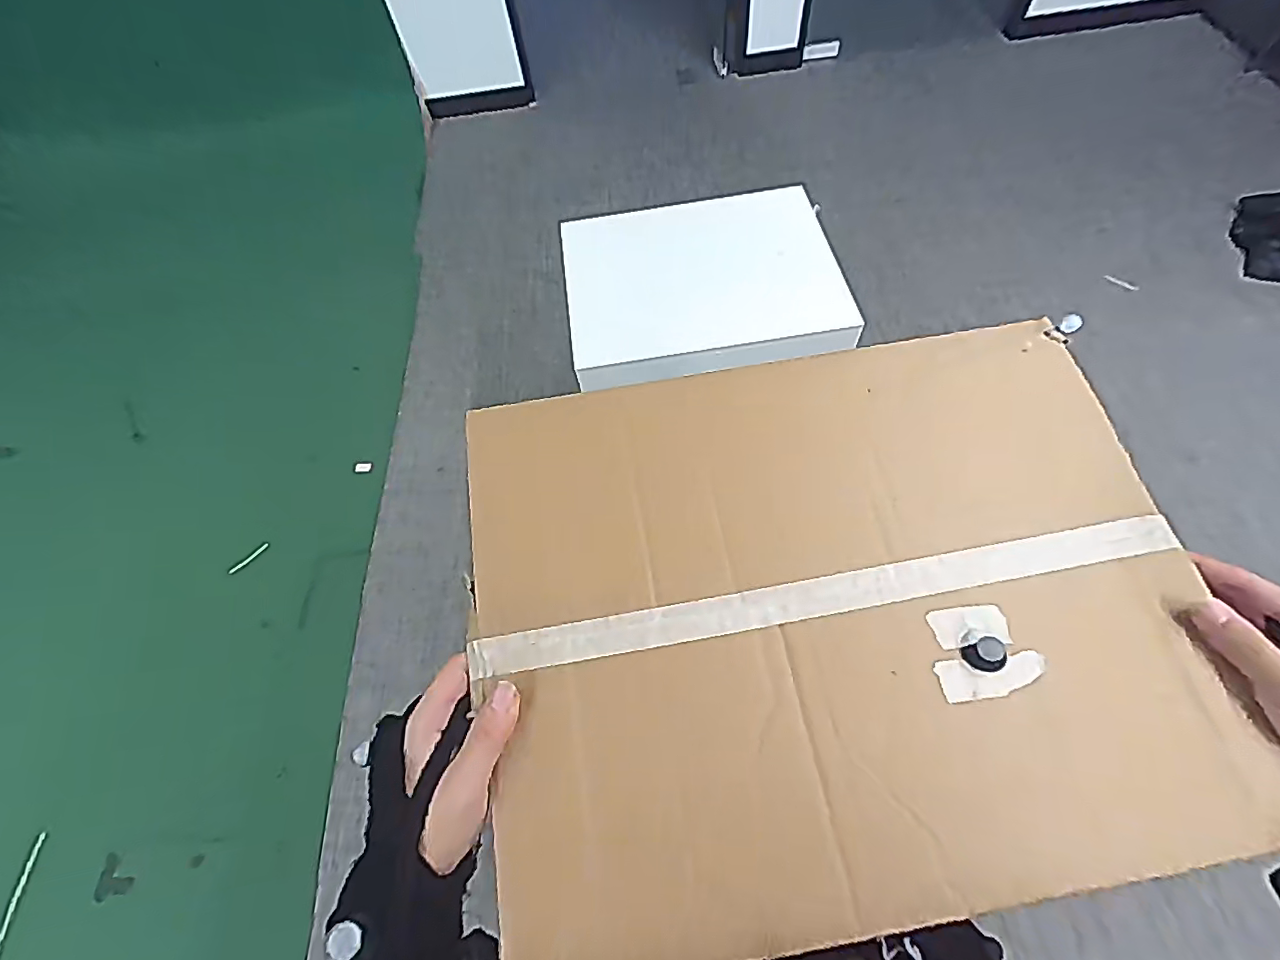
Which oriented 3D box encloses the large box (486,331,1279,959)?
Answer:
[{"bbox_3d":[0.116,0.120,0.462,0.408,0.320,0.320,-9,69,-4],"label":"large box"}]
